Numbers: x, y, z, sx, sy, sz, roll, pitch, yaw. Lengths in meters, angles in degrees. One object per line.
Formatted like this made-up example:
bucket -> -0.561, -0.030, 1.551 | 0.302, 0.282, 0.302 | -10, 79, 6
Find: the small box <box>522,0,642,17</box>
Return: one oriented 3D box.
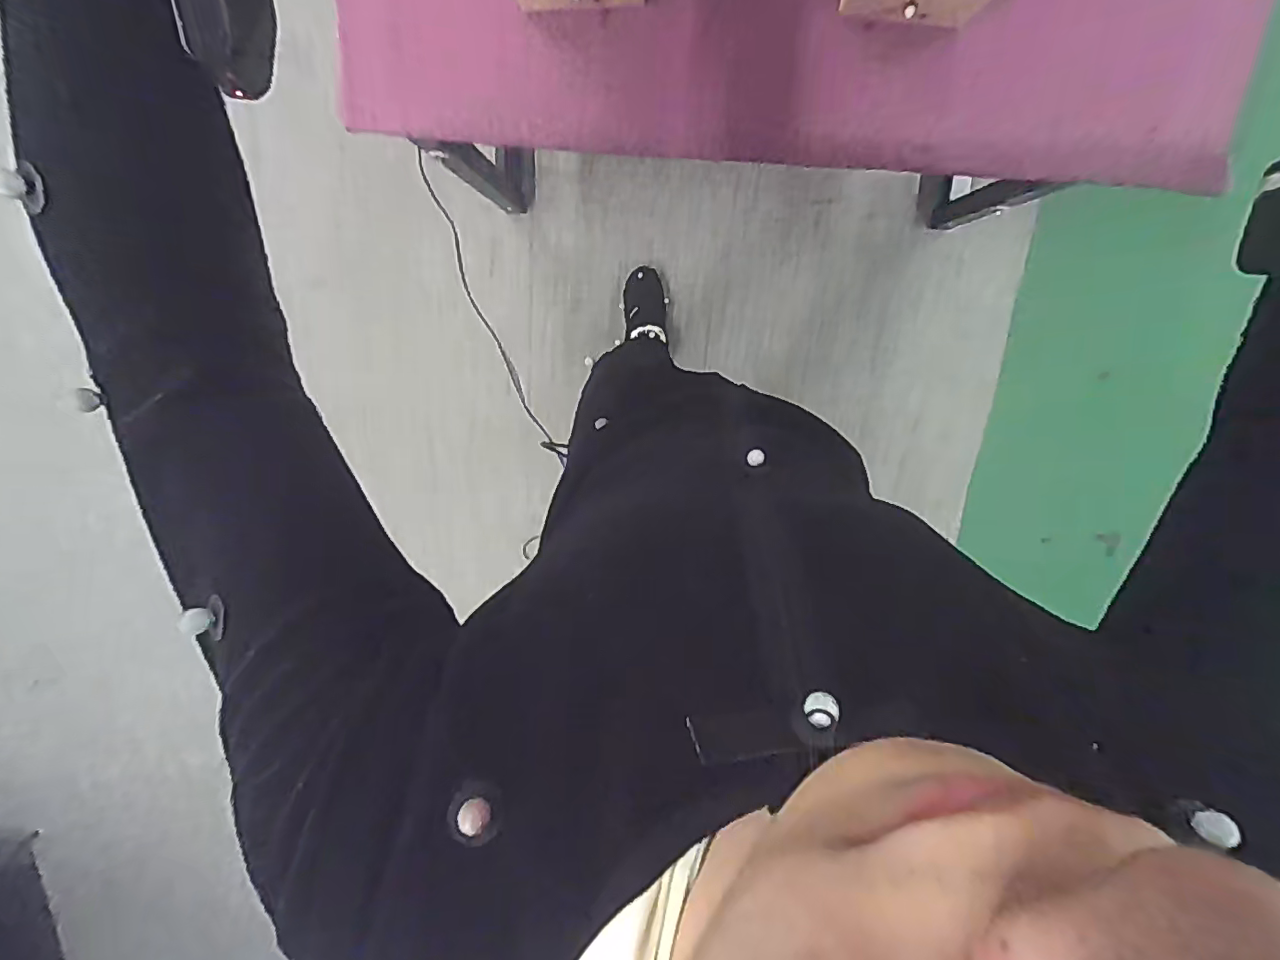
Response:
small box -> -0.082, -0.687, 0.624 | 0.168, 0.176, 0.179 | 0, 105, 3
